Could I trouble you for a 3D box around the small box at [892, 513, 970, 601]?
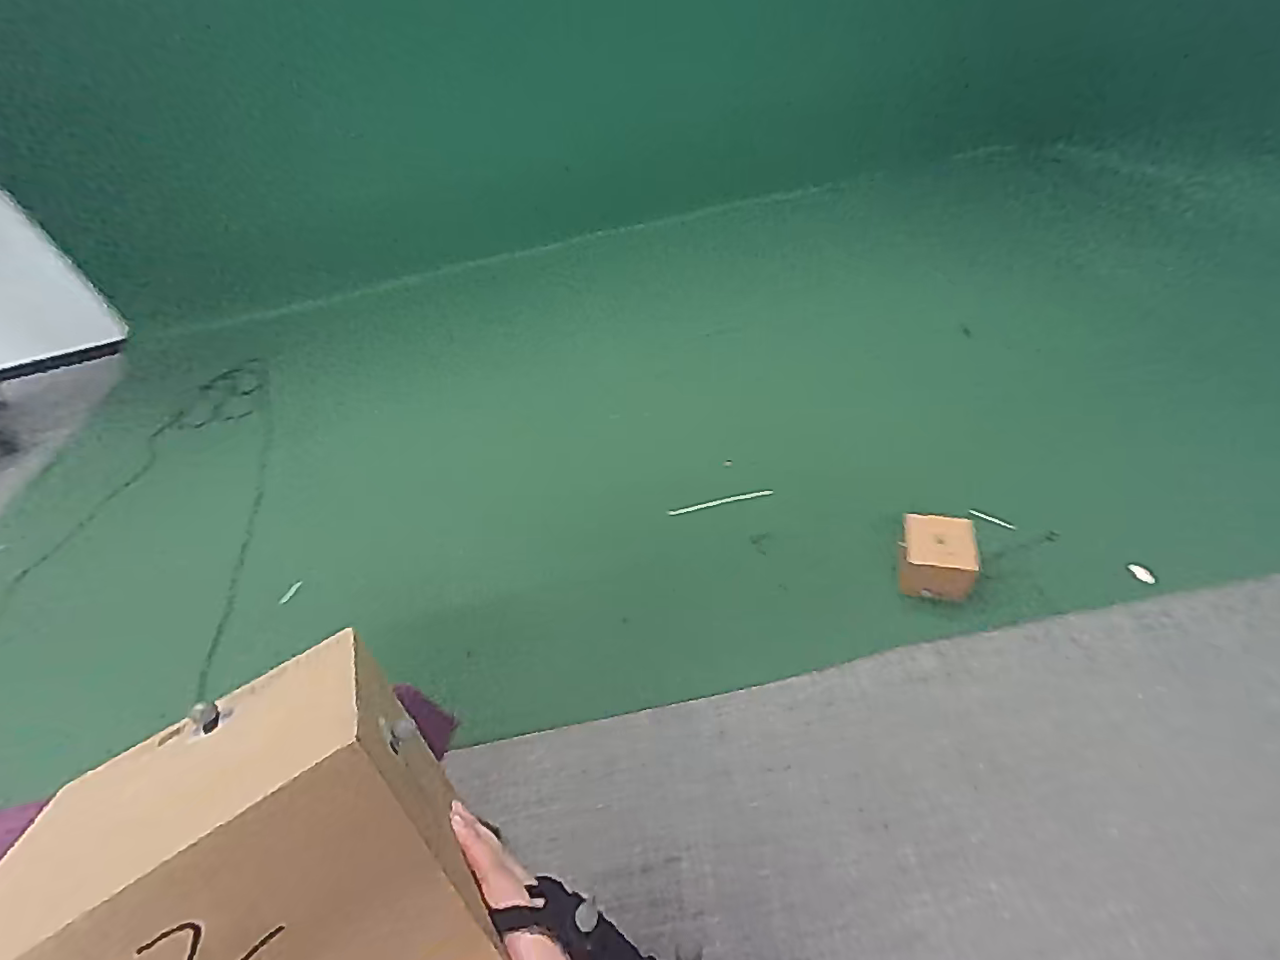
[{"bbox_3d":[0.829,0.220,1.558,0.168,0.176,0.179,5,49,17],"label":"small box"}]
